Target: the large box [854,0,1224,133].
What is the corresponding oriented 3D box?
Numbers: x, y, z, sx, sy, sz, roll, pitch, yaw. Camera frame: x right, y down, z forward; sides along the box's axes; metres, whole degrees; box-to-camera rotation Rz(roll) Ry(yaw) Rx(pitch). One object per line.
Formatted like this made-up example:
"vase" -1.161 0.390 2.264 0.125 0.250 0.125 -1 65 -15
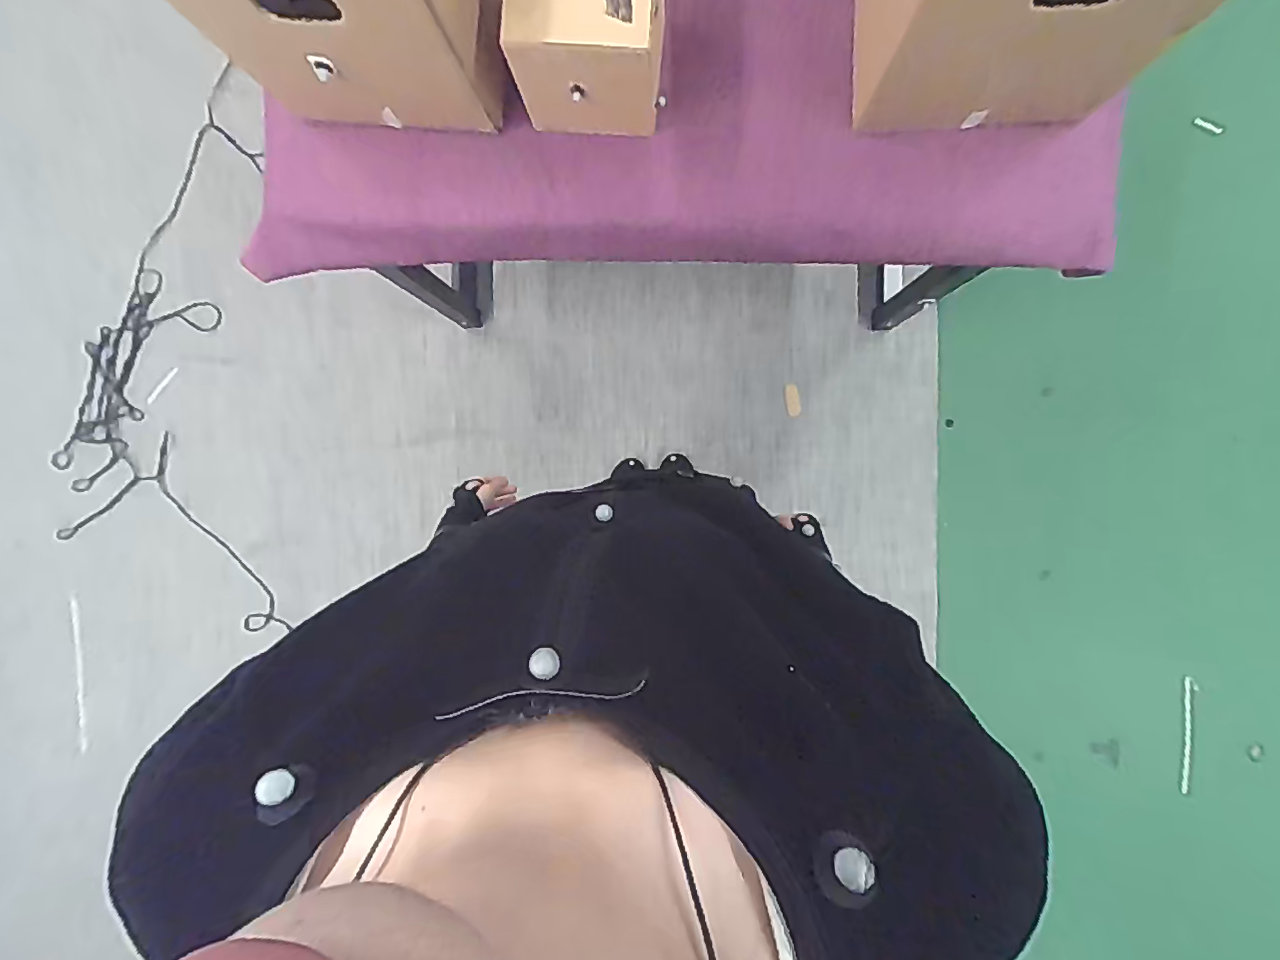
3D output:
"large box" 0.438 -0.680 0.595 0.320 0.320 0.408 0 92 5
